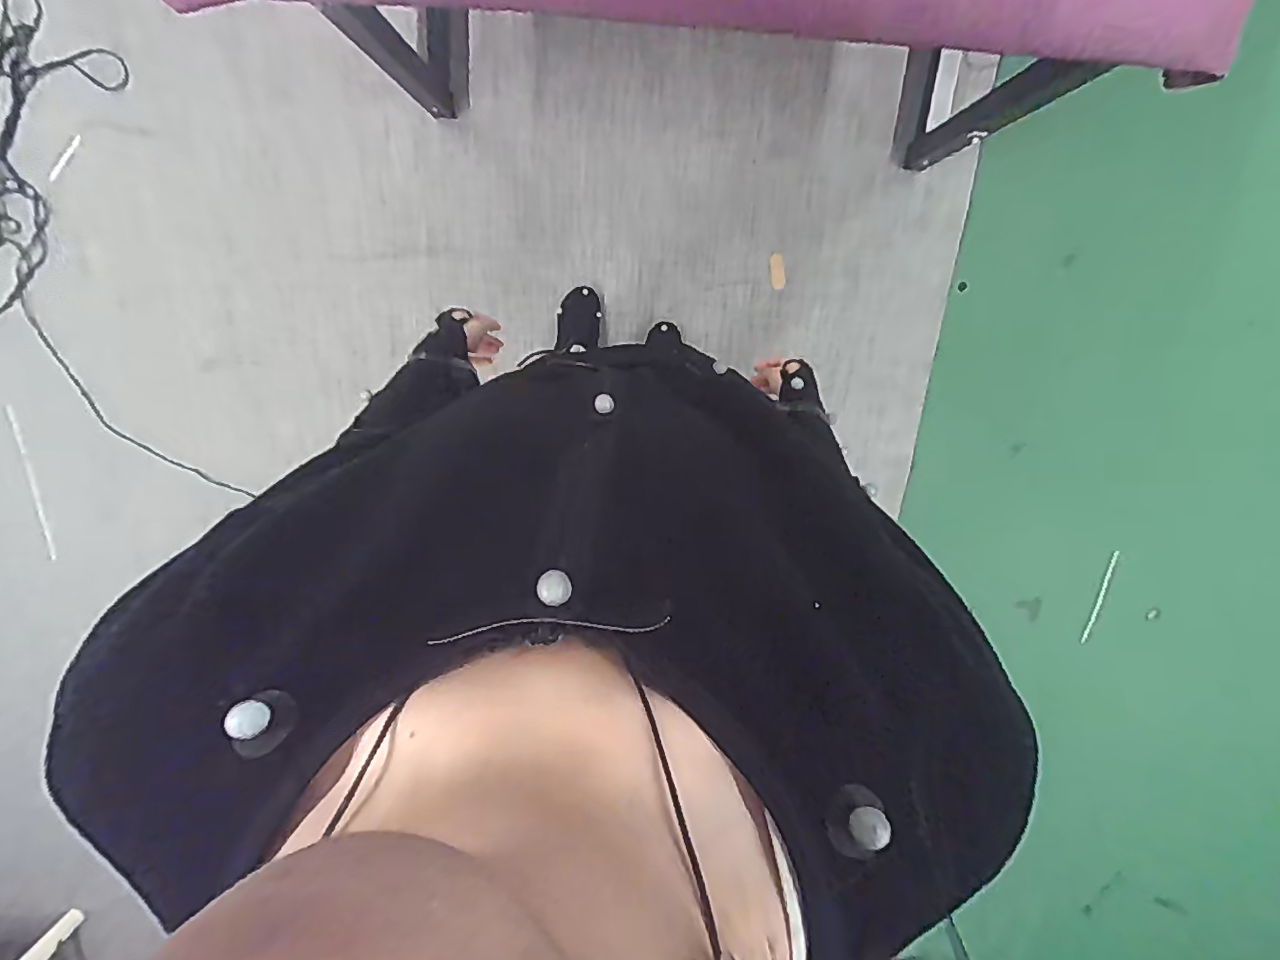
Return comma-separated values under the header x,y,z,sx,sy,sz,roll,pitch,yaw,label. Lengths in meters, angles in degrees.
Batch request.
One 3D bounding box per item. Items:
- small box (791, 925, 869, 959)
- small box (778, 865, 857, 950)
x,y,z,sx,sy,sz,roll,pitch,yaw,label
0.469,1.220,1.296,0.179,0.176,0.168,-10,105,3,small box
0.474,1.172,1.452,0.168,0.176,0.179,-9,106,4,small box
